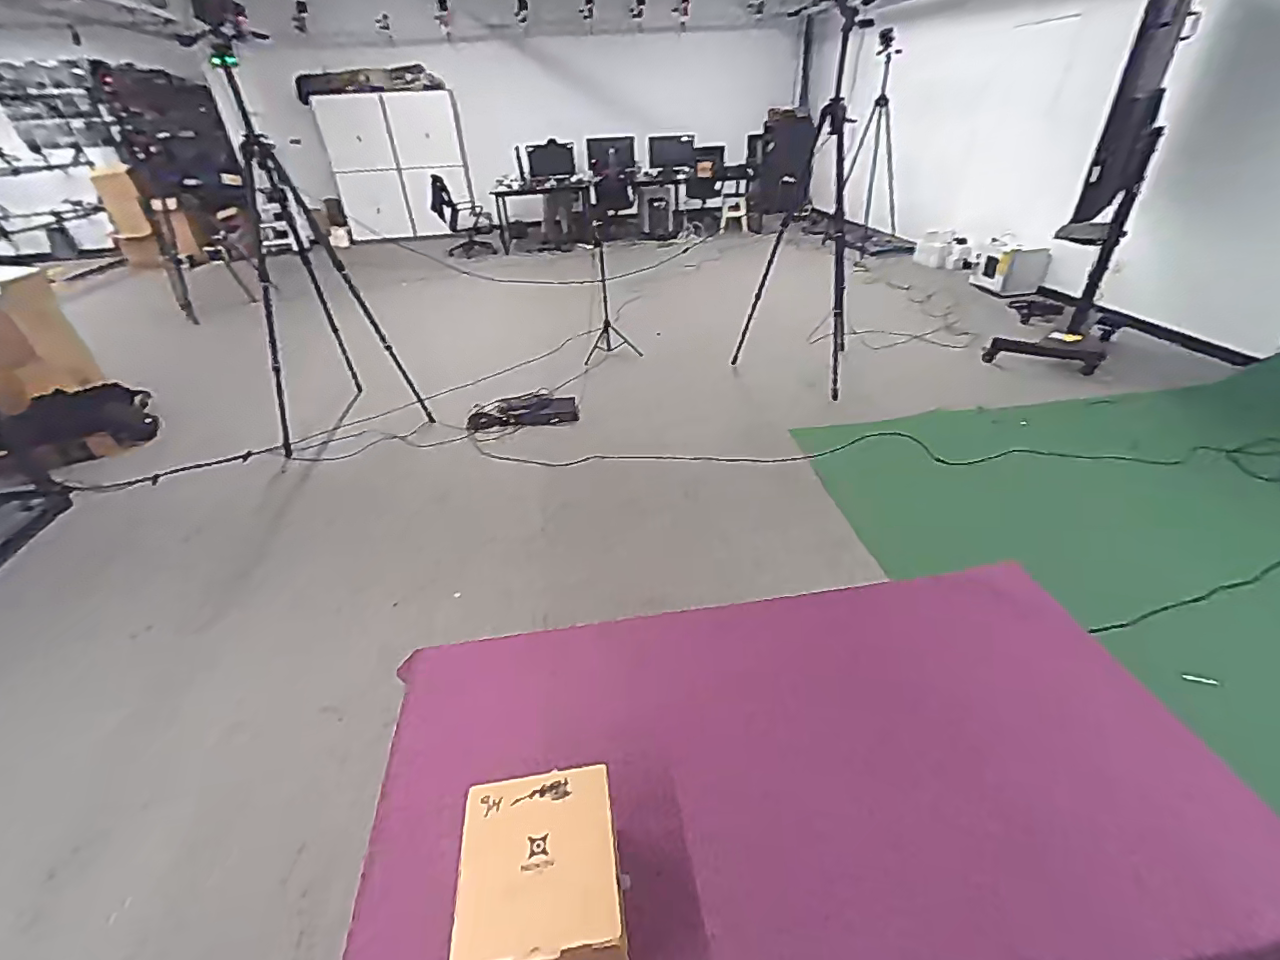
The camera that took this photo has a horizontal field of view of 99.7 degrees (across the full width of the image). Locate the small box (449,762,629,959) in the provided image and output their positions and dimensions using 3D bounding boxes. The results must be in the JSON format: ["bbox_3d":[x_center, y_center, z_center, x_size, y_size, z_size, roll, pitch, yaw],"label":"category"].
[{"bbox_3d":[-0.107,0.467,0.627,0.168,0.176,0.179,-7,35,-5],"label":"small box"}]
